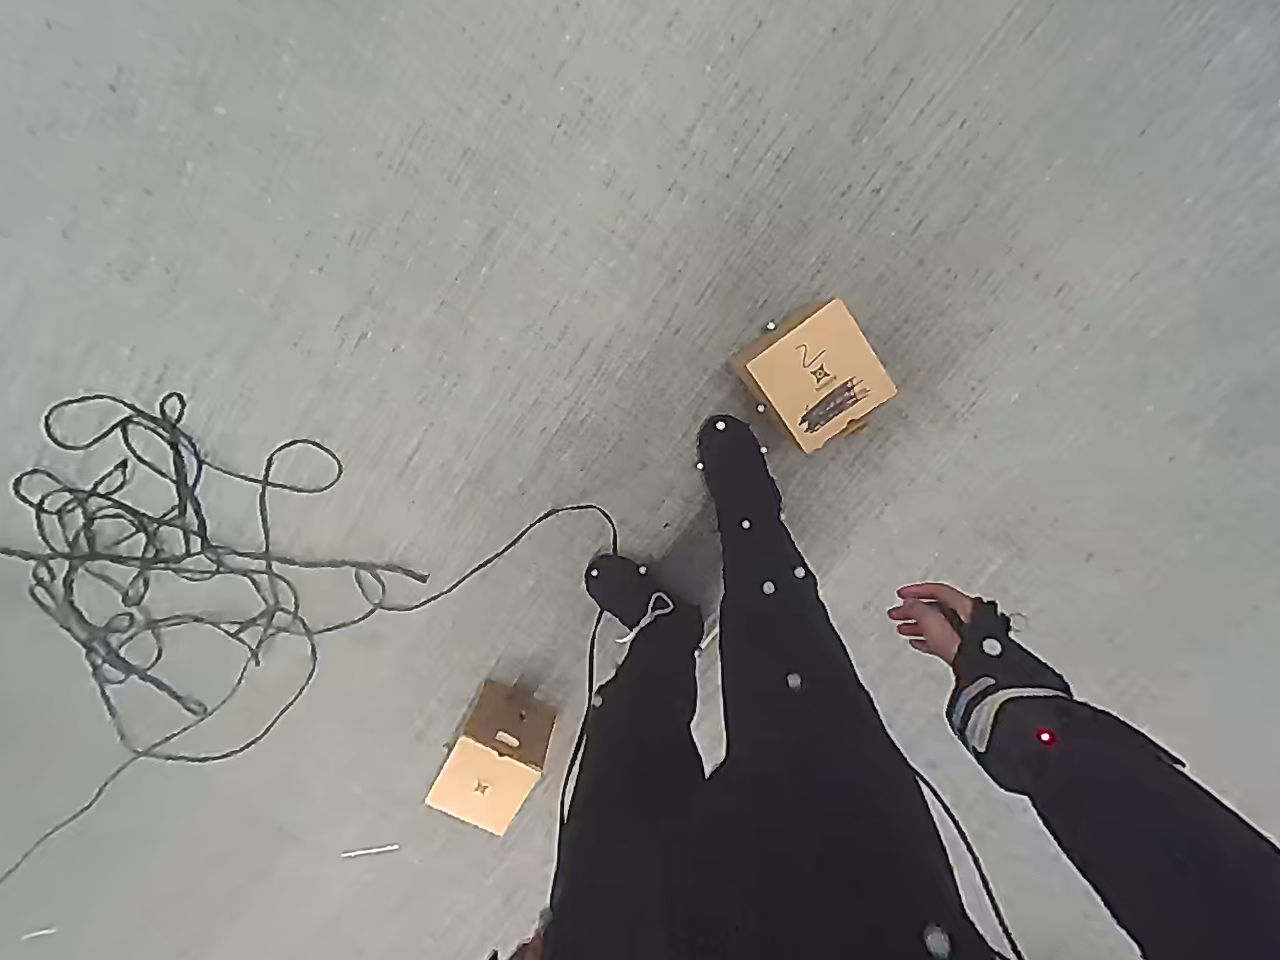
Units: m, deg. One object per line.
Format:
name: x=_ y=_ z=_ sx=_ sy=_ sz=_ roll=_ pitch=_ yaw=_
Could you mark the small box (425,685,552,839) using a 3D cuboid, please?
small box: x=-0.290 y=0.553 z=1.077 sx=0.168 sy=0.176 sz=0.179 roll=29 pitch=102 yaw=-6
